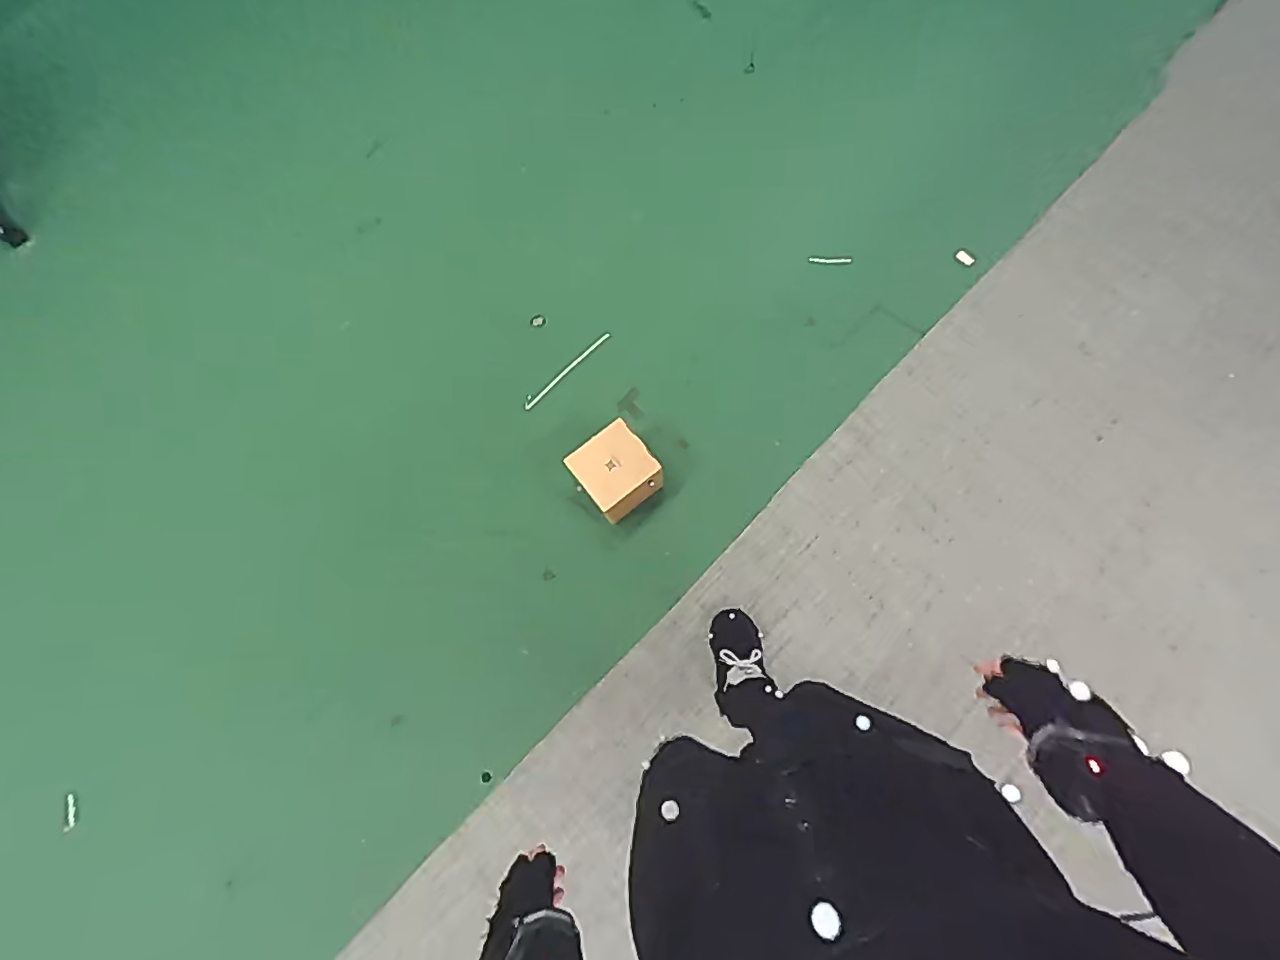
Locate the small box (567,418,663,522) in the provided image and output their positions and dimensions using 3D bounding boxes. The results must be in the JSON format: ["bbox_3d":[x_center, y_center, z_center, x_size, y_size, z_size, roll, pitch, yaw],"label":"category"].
[{"bbox_3d":[-0.053,-0.016,1.350,0.179,0.176,0.168,-38,76,-7],"label":"small box"}]
